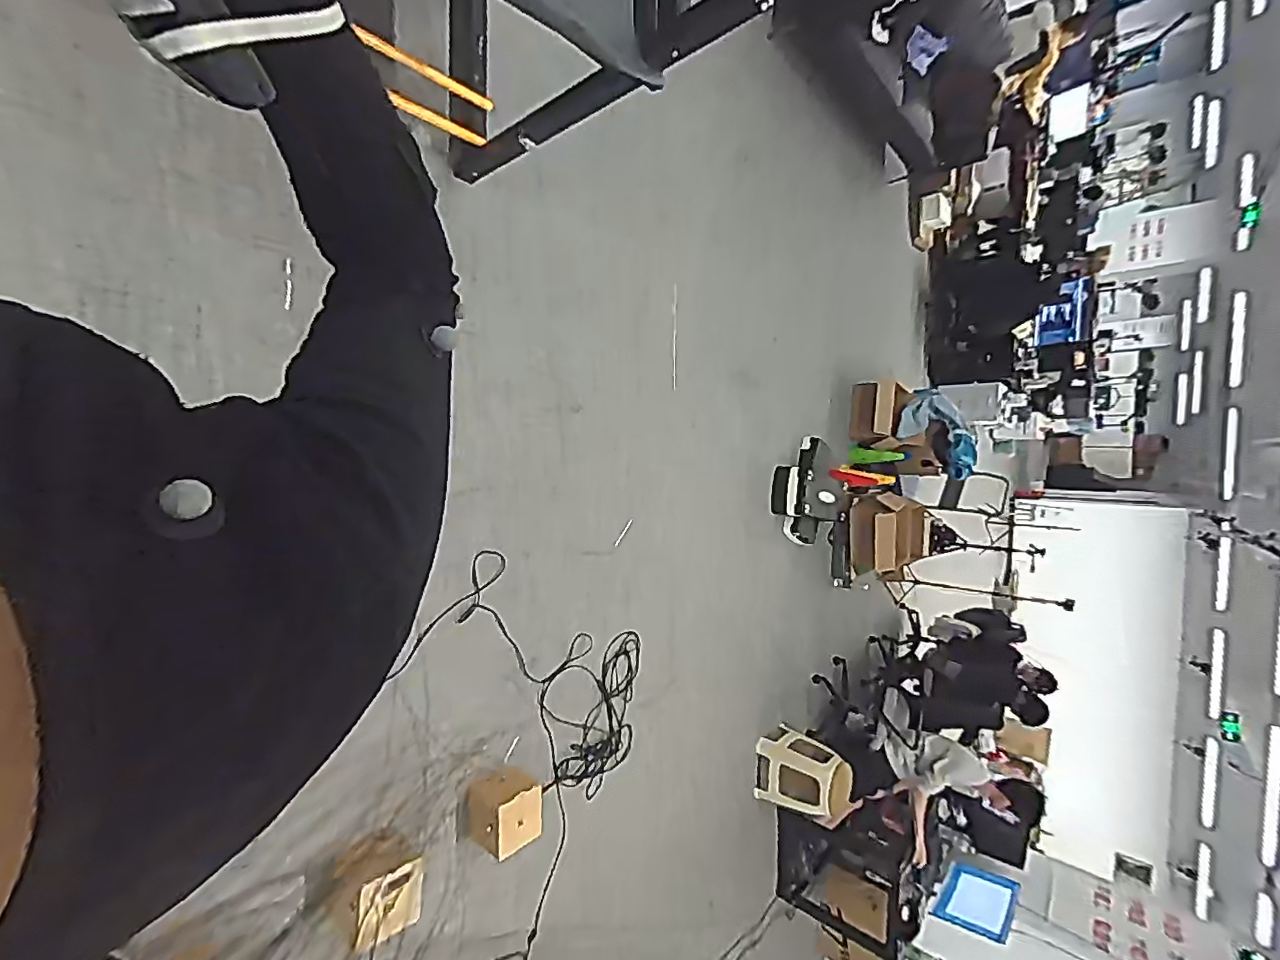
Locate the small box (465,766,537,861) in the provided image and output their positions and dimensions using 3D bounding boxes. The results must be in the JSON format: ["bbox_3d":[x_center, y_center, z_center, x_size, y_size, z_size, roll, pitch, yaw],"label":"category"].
[{"bbox_3d":[-0.451,1.066,1.746,0.168,0.176,0.179,-3,94,-49],"label":"small box"}]

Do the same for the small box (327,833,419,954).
[{"bbox_3d":[-0.714,1.082,1.441,0.168,0.176,0.179,5,89,-49],"label":"small box"}]
